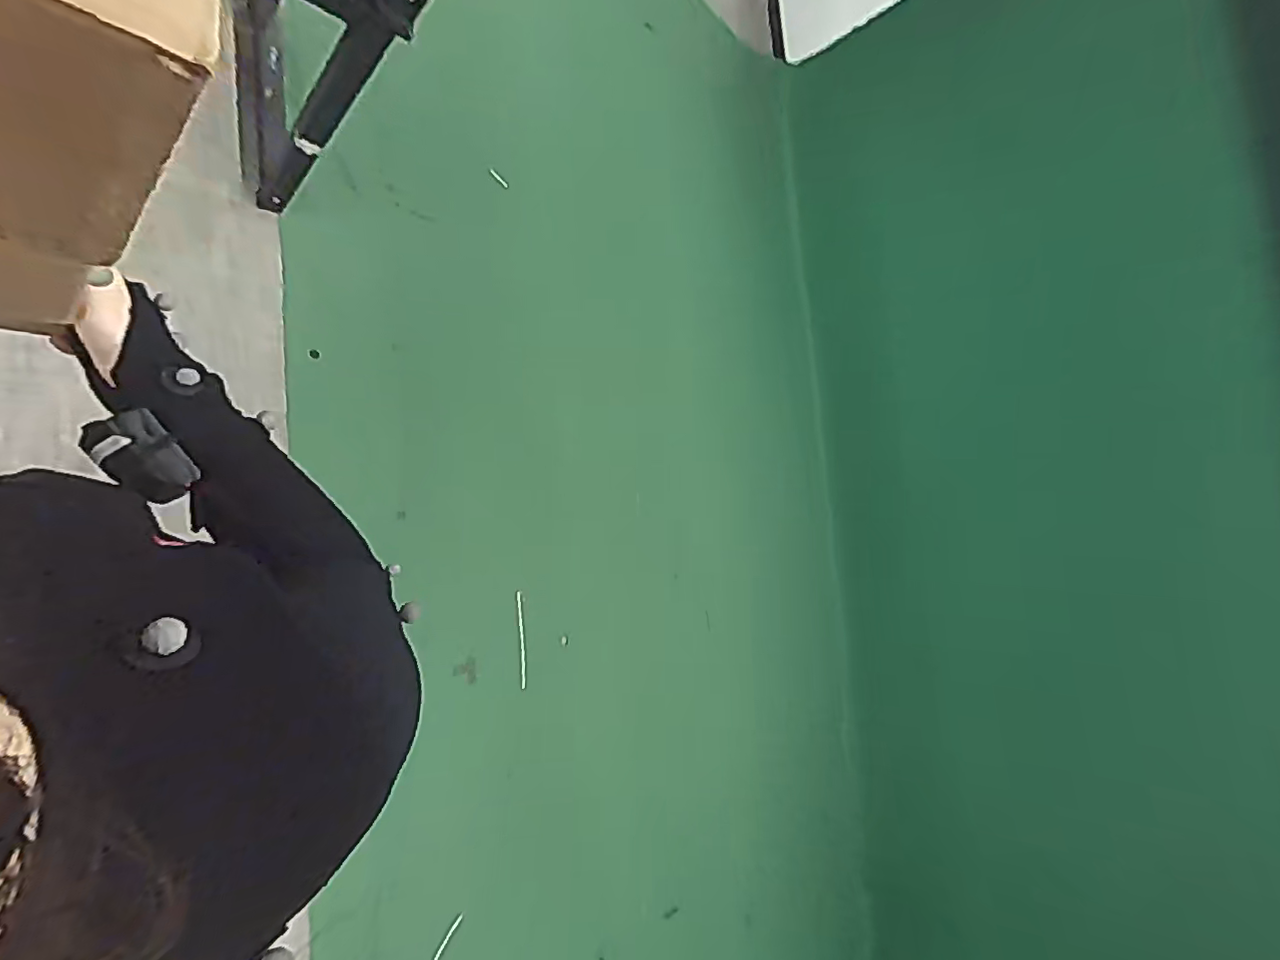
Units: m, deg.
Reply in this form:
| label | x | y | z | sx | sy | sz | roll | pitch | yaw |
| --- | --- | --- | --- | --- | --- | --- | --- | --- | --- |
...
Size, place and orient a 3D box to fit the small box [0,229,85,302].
| label | x | y | z | sx | sy | sz | roll | pitch | yaw |
| --- | --- | --- | --- | --- | --- | --- | --- | --- | --- |
| small box | -0.309 | -0.169 | 0.179 | 0.179 | 0.176 | 0.168 | 1 | 93 | -49 |

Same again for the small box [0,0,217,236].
| label | x | y | z | sx | sy | sz | roll | pitch | yaw |
| --- | --- | --- | --- | --- | --- | --- | --- | --- | --- |
| small box | -0.182 | -0.156 | 0.076 | 0.179 | 0.176 | 0.168 | 0 | 95 | -48 |
